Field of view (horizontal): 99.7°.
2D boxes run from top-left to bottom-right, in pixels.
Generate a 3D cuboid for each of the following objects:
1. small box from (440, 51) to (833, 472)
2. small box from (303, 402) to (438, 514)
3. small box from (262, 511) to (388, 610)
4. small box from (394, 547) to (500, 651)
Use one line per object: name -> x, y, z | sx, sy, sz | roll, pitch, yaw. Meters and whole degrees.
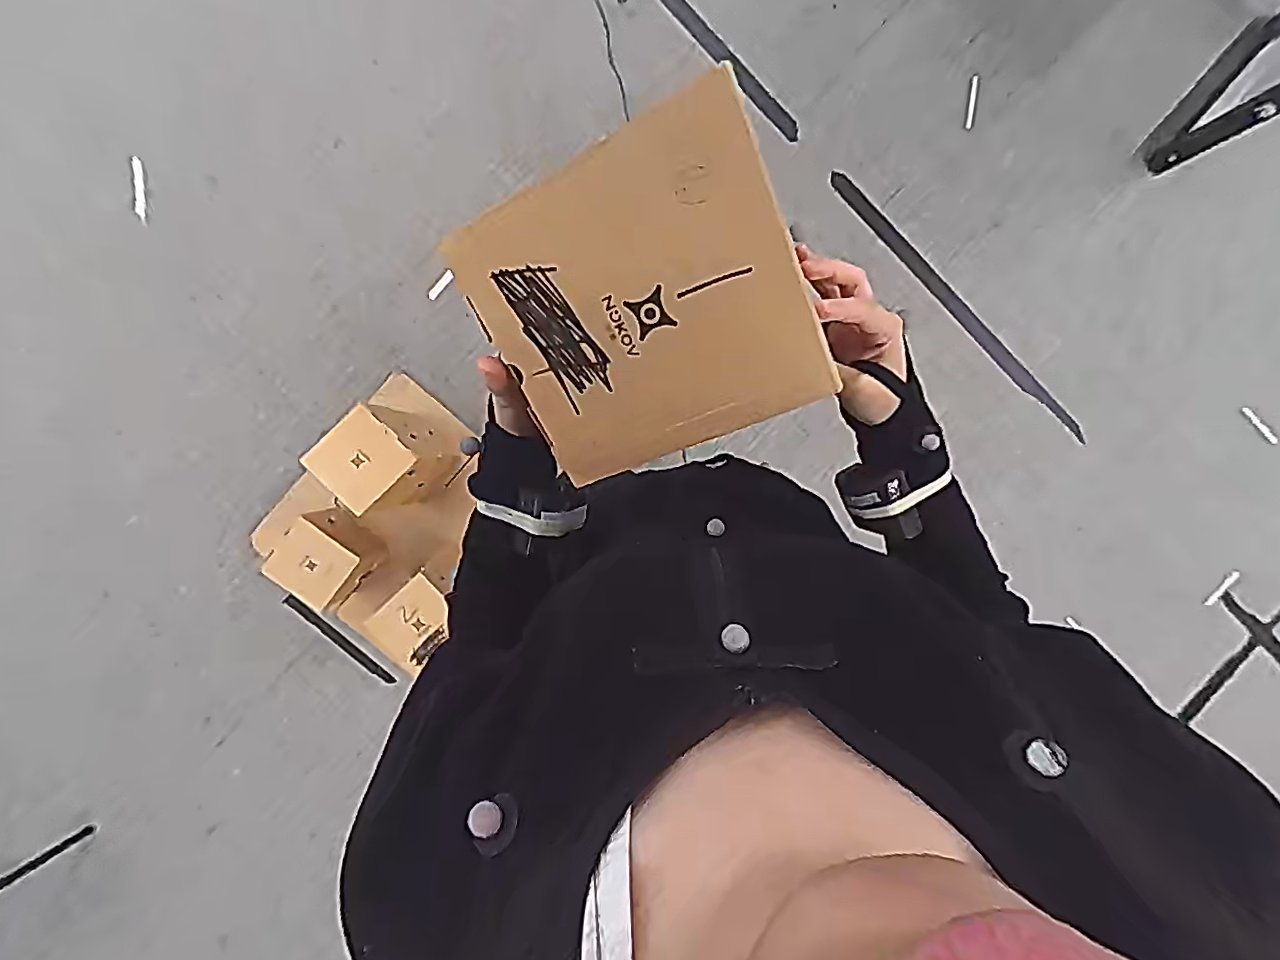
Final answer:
small box -> 0.013, -0.133, 0.363 | 0.179, 0.176, 0.168 | -19, 113, 21
small box -> -0.578, -0.047, 1.188 | 0.179, 0.176, 0.168 | -45, 95, -2
small box -> -0.777, 0.191, 1.353 | 0.179, 0.176, 0.168 | 37, 91, -5
small box -> -0.479, 0.294, 1.377 | 0.168, 0.176, 0.179 | -39, 97, -1
